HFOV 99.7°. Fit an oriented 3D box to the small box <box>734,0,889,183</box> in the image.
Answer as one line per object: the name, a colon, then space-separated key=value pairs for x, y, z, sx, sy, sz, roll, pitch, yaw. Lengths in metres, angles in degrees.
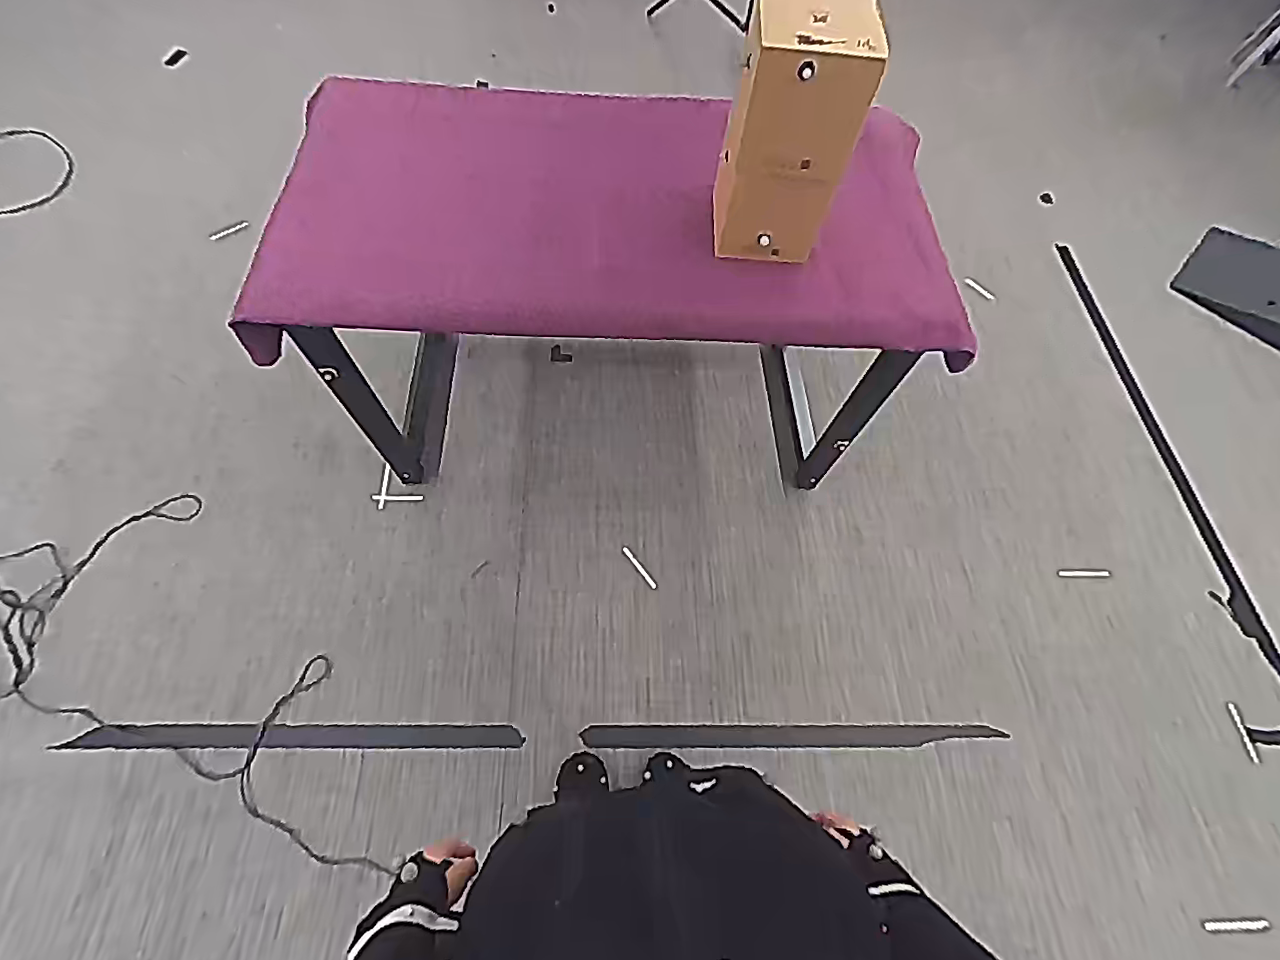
small box: x=0.234 y=-0.571 z=0.789 sx=0.168 sy=0.176 sz=0.179 roll=5 pitch=63 yaw=-1

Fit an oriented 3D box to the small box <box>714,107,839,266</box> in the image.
small box: x=0.225 y=-0.504 z=0.938 sx=0.168 sy=0.176 sz=0.179 roll=3 pitch=64 yaw=-2
